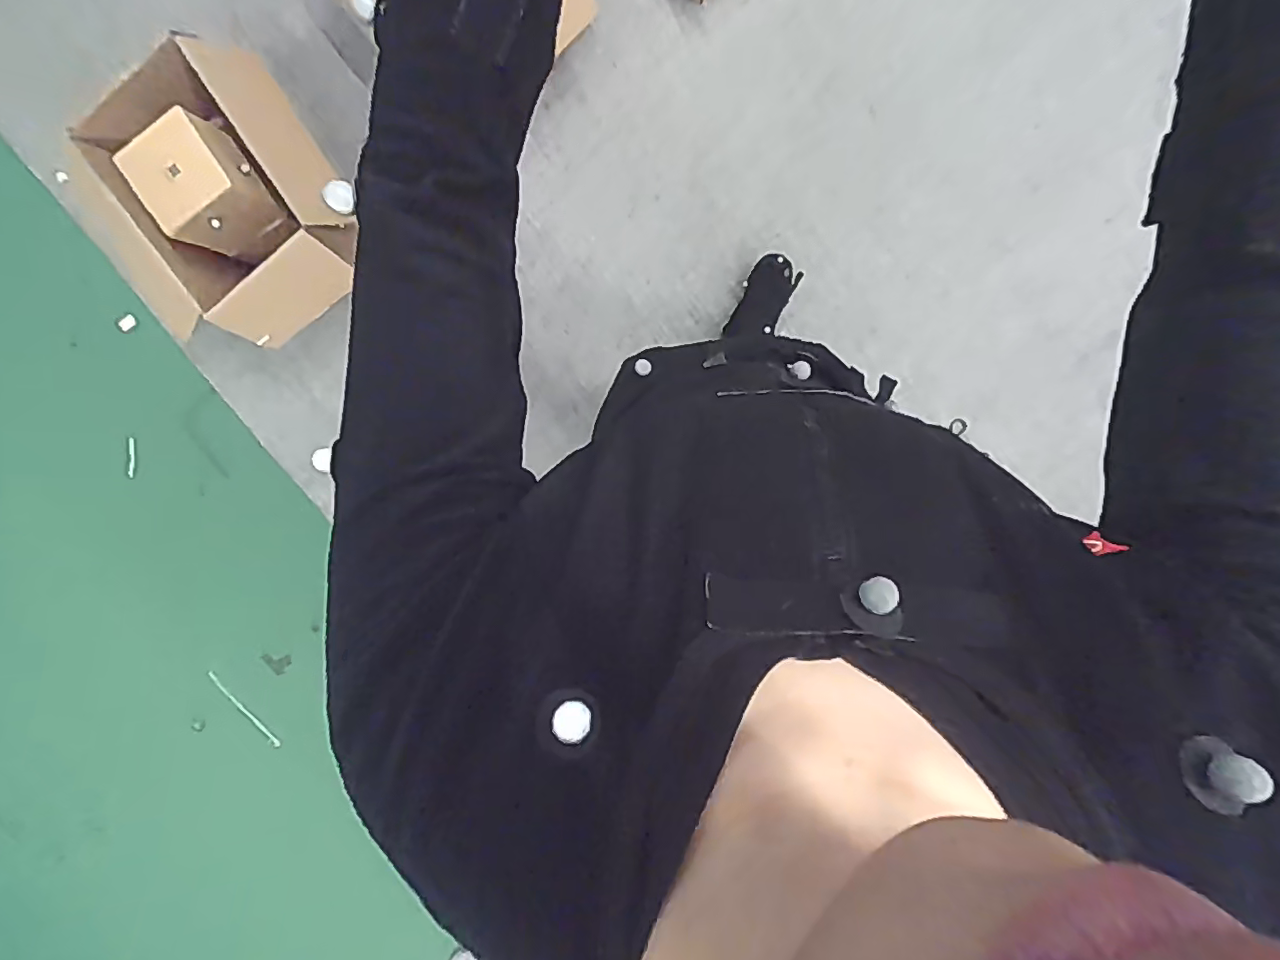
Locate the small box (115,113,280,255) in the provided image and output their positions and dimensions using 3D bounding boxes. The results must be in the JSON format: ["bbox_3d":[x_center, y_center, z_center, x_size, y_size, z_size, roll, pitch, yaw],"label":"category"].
[{"bbox_3d":[-0.889,-0.595,1.113,0.179,0.176,0.168,-31,98,7],"label":"small box"}]
